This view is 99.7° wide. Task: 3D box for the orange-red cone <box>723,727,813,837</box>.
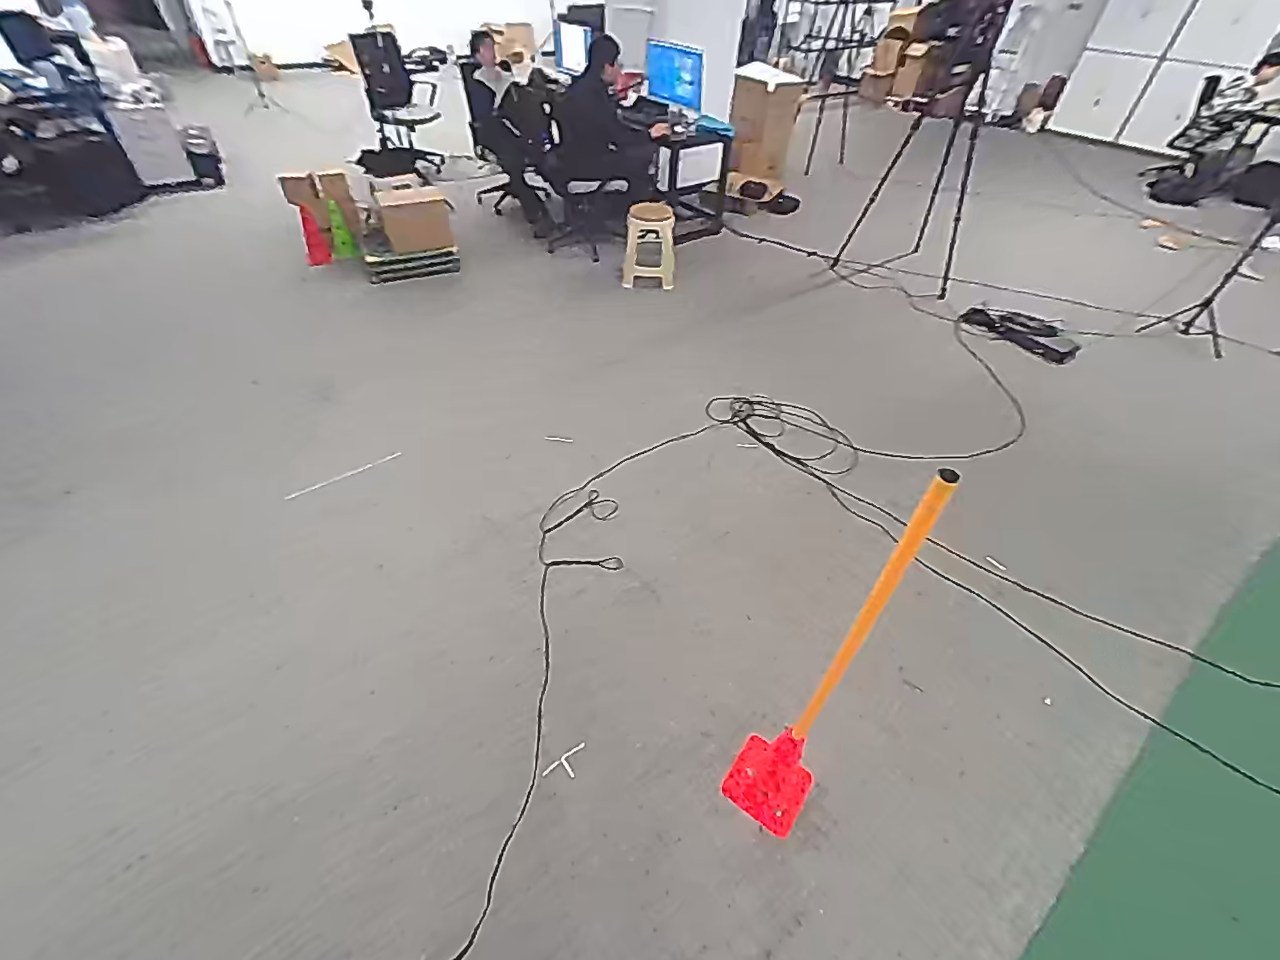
[{"bbox_3d":[0.360,0.711,1.366,0.198,0.360,0.199,30,49,25],"label":"orange-red cone"}]
